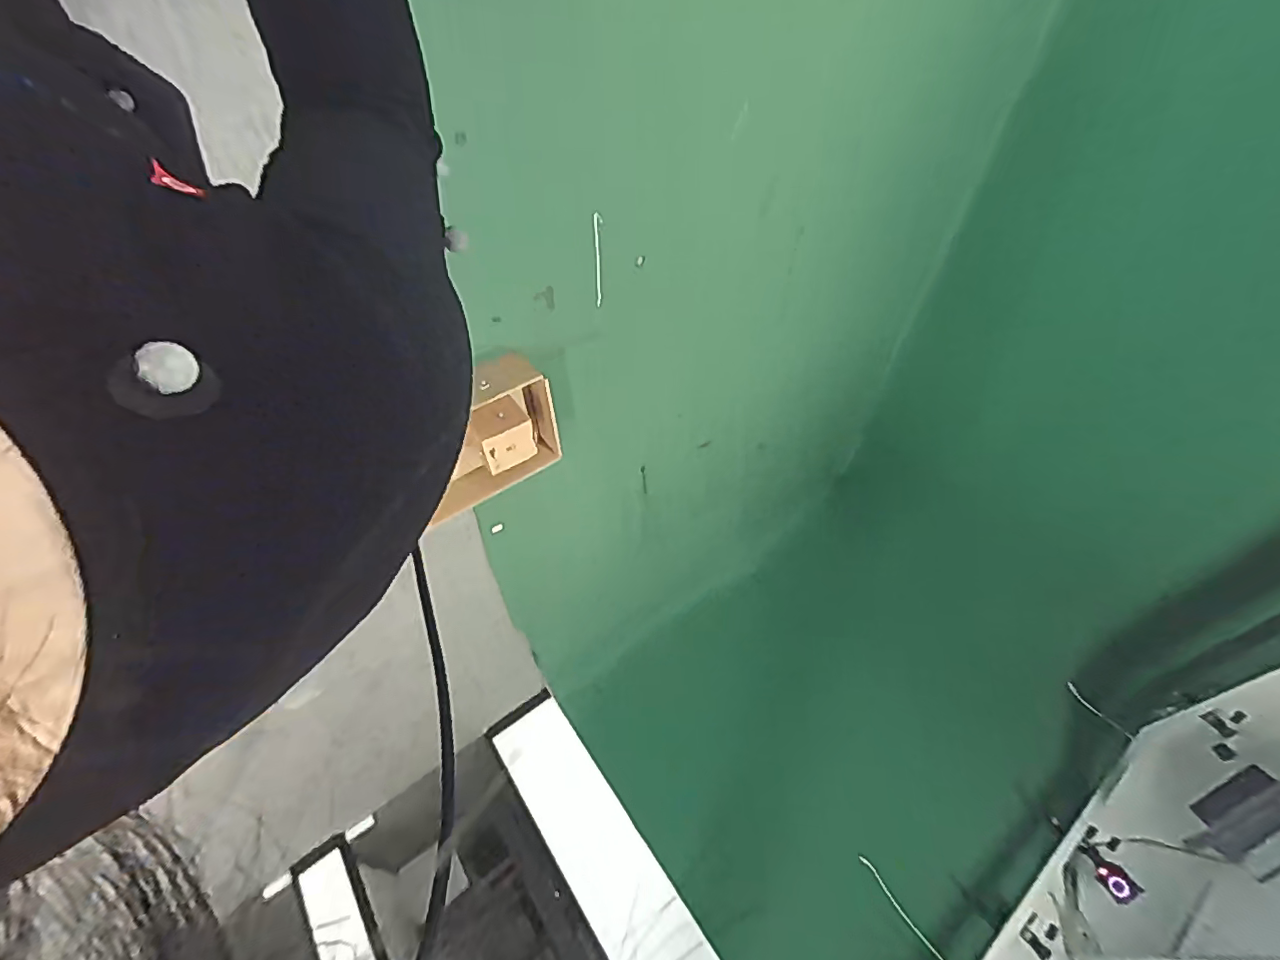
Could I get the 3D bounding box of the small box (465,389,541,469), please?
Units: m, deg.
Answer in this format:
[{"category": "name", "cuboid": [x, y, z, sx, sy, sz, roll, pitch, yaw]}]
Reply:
[{"category": "small box", "cuboid": [-0.456, -0.177, 1.808, 0.179, 0.176, 0.168, -29, 147, -22]}]
